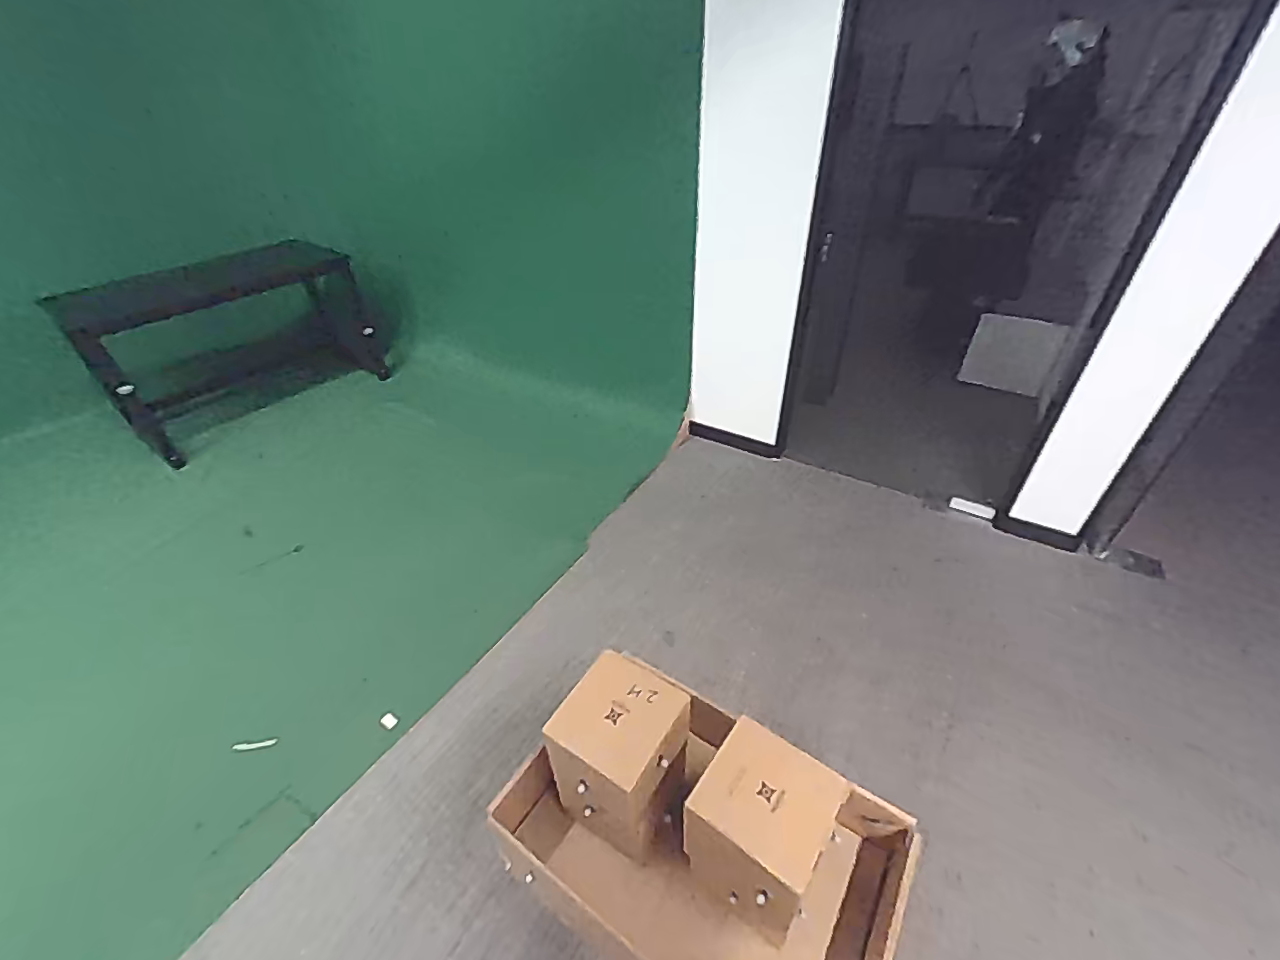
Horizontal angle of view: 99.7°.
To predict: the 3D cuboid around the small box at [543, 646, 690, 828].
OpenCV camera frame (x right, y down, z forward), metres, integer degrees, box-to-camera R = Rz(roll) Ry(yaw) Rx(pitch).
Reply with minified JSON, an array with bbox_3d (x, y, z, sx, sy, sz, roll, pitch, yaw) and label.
[{"bbox_3d":[-0.029,0.418,0.881,0.168,0.176,0.179,21,43,27],"label":"small box"}]
